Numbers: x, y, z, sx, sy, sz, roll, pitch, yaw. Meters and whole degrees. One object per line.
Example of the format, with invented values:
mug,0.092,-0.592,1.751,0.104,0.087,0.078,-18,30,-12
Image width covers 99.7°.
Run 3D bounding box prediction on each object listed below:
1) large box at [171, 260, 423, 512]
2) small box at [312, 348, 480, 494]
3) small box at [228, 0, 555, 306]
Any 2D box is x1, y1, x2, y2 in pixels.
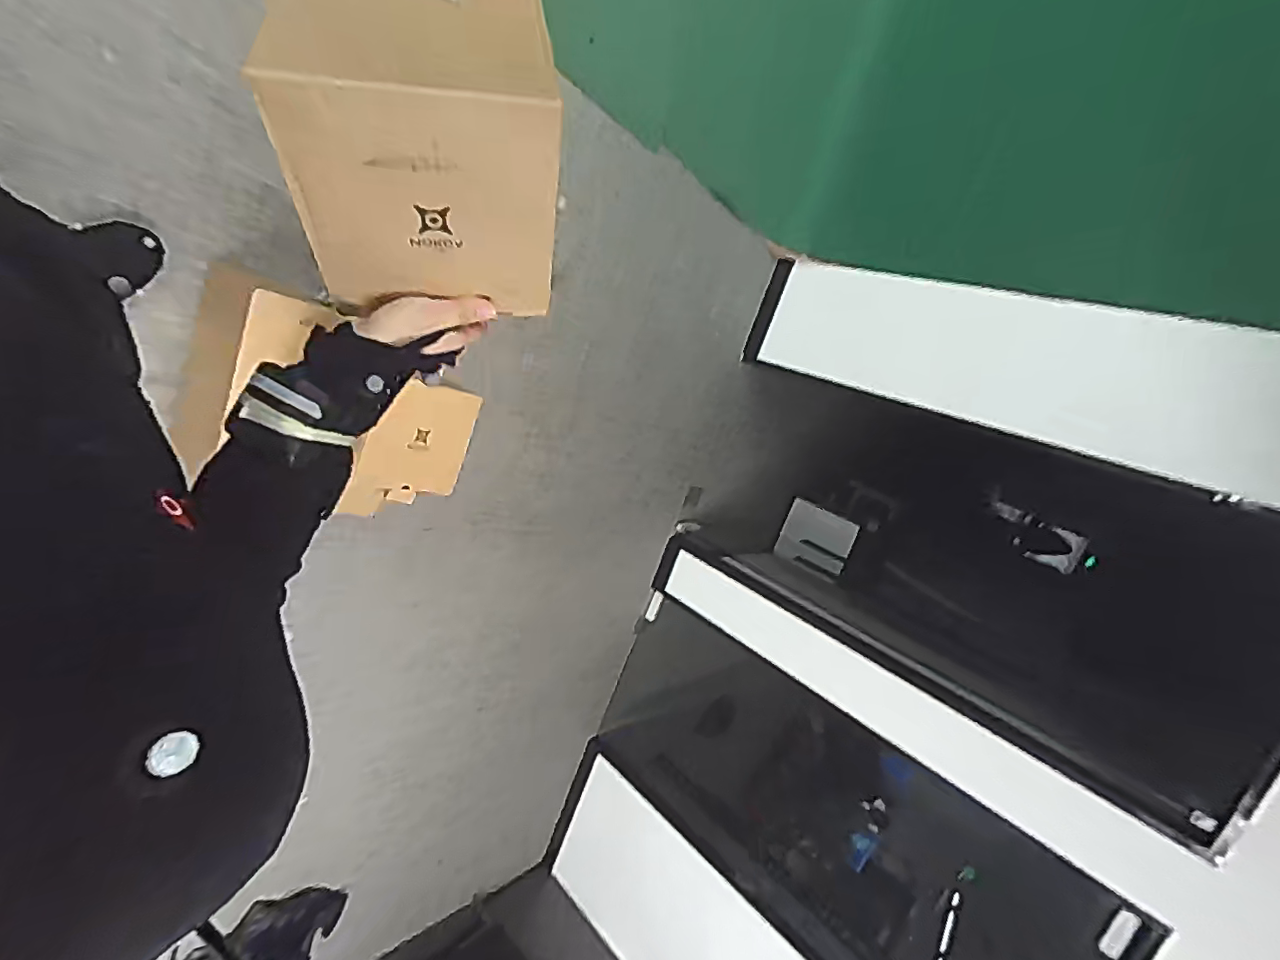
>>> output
large box,-0.710,-0.181,1.116,0.320,0.320,0.408,8,108,-52
small box,-0.393,-0.094,0.865,0.168,0.176,0.179,9,106,-53
small box,-0.158,-0.252,0.395,0.168,0.176,0.179,-6,154,-15
